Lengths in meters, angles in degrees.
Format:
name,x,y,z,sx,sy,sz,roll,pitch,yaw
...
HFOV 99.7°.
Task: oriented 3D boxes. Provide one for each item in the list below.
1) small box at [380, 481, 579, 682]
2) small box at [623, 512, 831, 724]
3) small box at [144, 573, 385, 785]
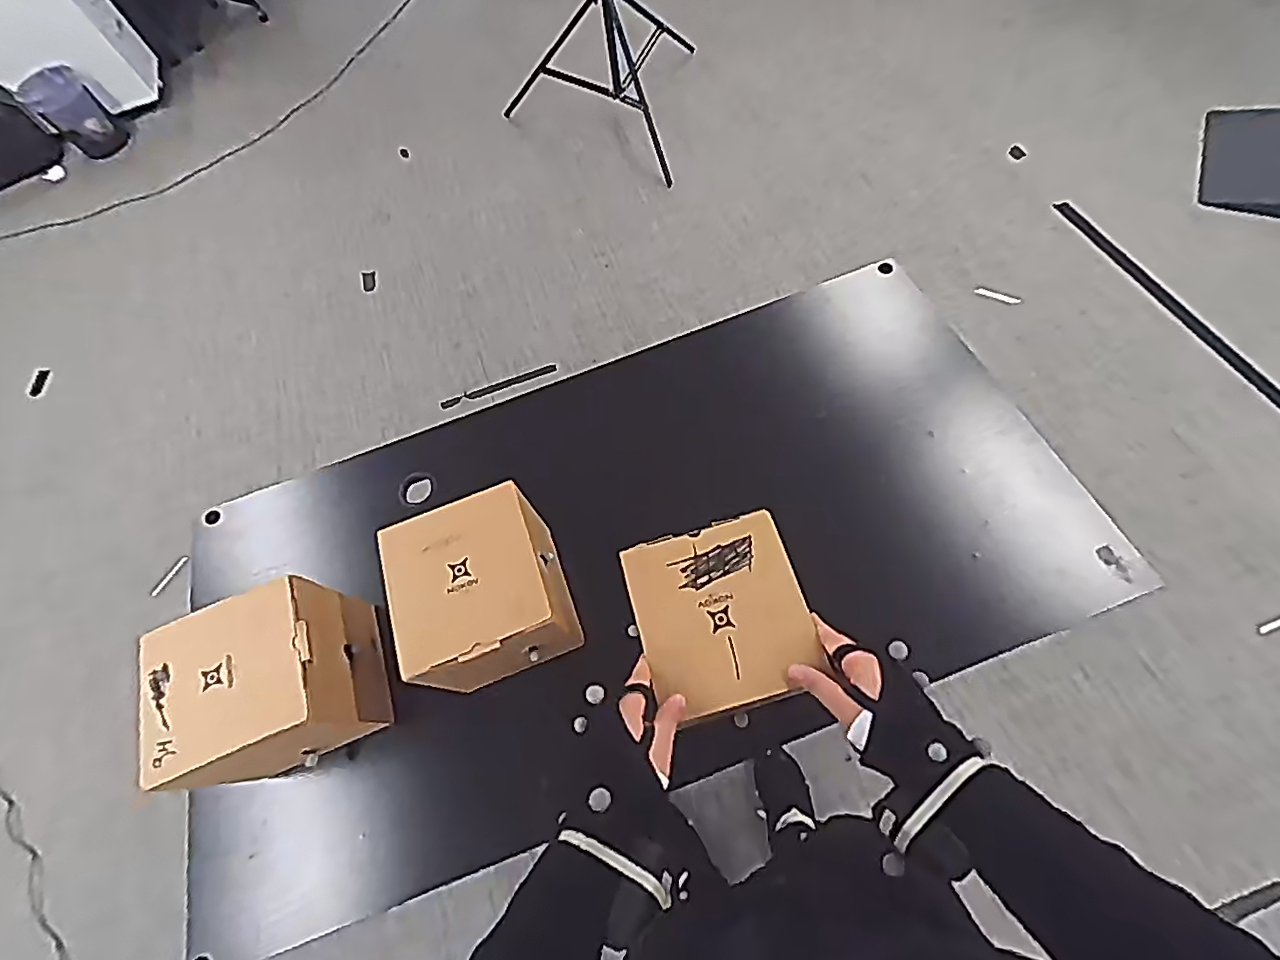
name,x,y,z,sx,sy,sz,roll,pitch,yaw
small box,-0.185,0.134,0.661,0.168,0.176,0.179,-21,64,-5
small box,0.087,0.162,0.605,0.168,0.176,0.179,-16,64,0
small box,-0.427,0.234,0.640,0.179,0.176,0.168,-22,64,-5
